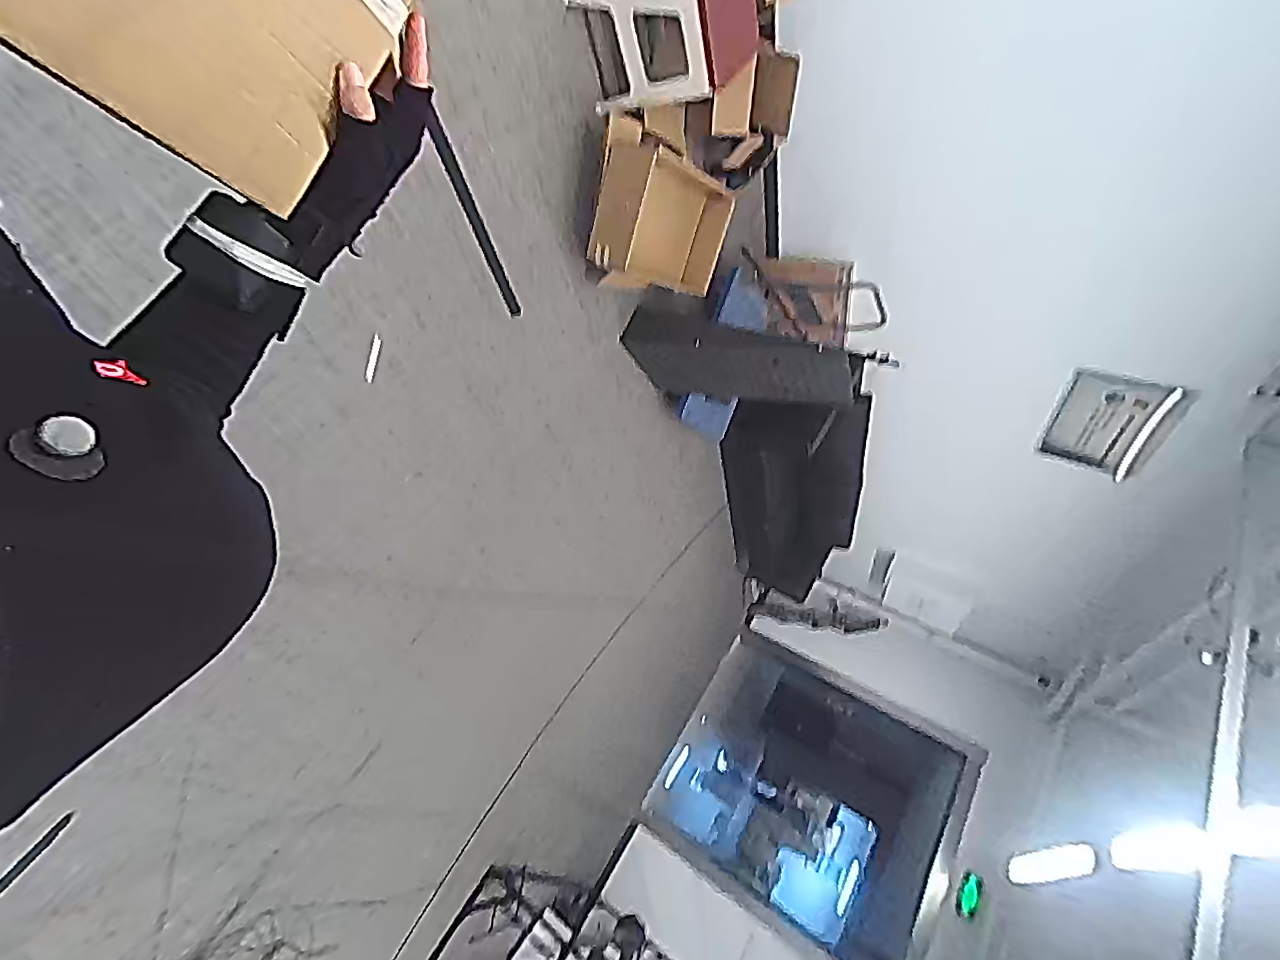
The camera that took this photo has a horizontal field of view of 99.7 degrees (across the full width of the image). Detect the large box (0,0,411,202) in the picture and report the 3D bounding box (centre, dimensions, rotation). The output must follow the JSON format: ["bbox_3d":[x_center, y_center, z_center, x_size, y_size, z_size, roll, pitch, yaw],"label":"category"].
[{"bbox_3d":[-0.368,-0.441,0.286,0.320,0.320,0.408,-57,150,3],"label":"large box"}]
